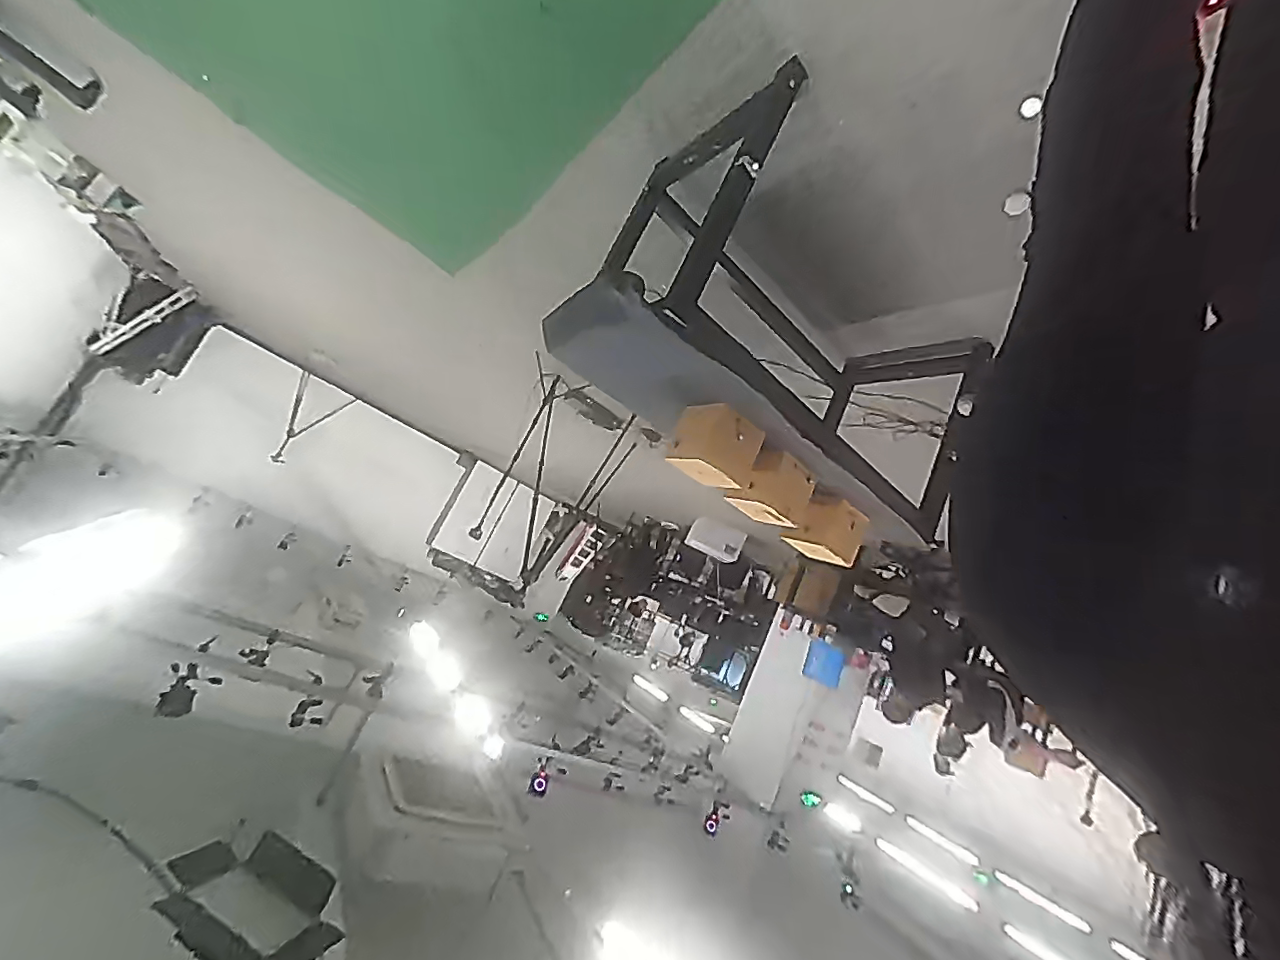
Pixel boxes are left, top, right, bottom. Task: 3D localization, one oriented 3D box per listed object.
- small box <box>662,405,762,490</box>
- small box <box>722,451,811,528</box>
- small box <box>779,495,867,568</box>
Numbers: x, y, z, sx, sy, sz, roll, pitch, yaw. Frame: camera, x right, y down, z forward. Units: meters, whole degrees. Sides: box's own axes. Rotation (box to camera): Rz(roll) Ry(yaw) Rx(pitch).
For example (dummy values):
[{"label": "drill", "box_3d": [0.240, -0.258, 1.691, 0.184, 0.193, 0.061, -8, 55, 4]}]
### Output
[{"label": "small box", "box_3d": [0.197, -0.088, 1.463, 0.168, 0.176, 0.179, 32, 166, -29]}, {"label": "small box", "box_3d": [0.378, 0.024, 1.581, 0.168, 0.176, 0.179, 33, 166, -31]}, {"label": "small box", "box_3d": [0.587, 0.158, 1.727, 0.168, 0.176, 0.179, 33, 166, -29]}]
